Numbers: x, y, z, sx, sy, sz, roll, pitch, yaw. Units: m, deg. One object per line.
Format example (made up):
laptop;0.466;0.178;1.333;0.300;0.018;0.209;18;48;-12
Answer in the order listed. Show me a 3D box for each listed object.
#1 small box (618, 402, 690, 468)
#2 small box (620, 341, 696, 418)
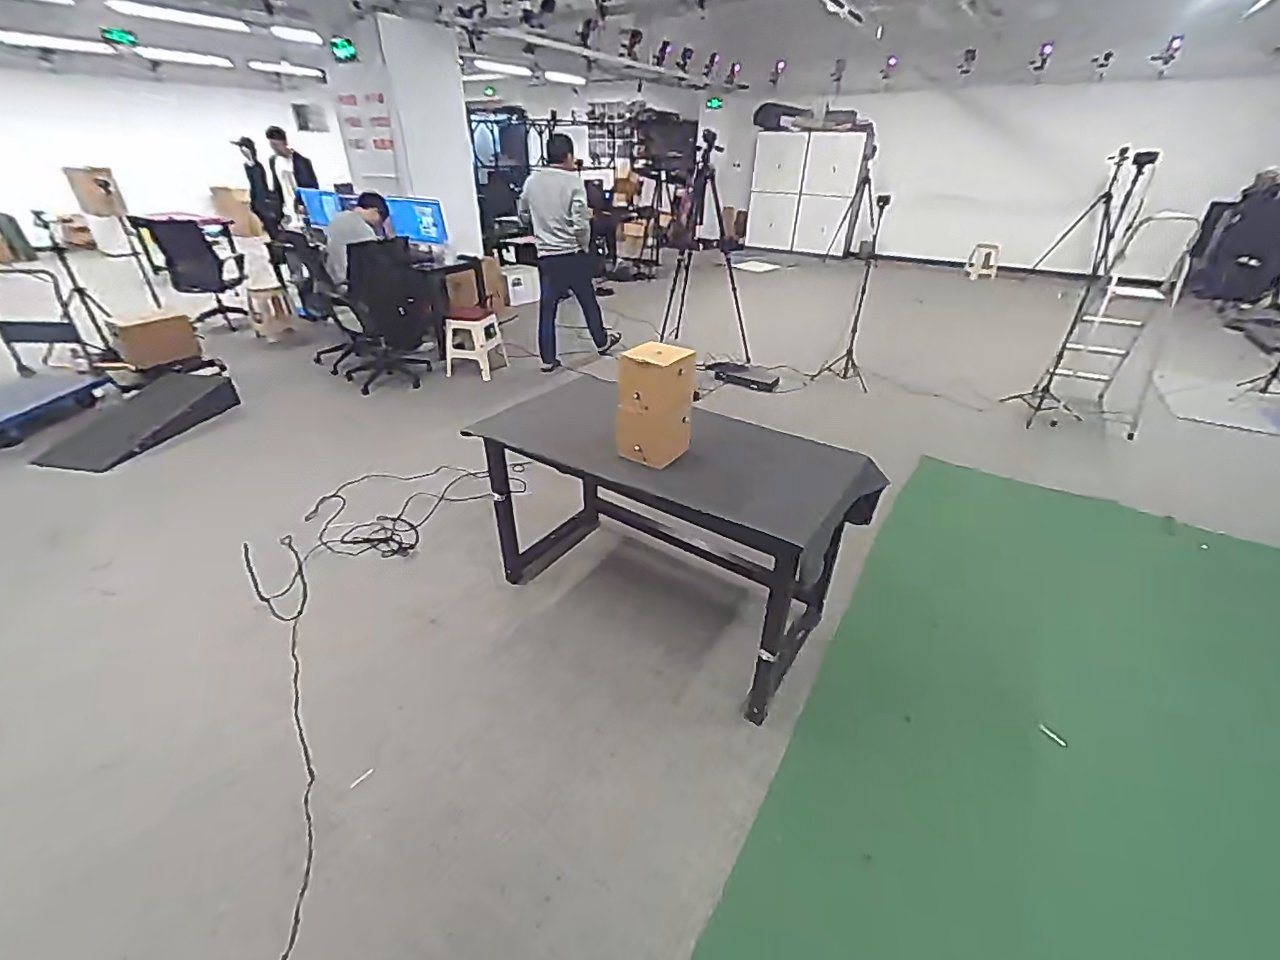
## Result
small box;0.040;-0.162;1.705;0.168;0.176;0.179;20;35;29
small box;0.048;-0.304;1.627;0.168;0.176;0.179;21;36;28
